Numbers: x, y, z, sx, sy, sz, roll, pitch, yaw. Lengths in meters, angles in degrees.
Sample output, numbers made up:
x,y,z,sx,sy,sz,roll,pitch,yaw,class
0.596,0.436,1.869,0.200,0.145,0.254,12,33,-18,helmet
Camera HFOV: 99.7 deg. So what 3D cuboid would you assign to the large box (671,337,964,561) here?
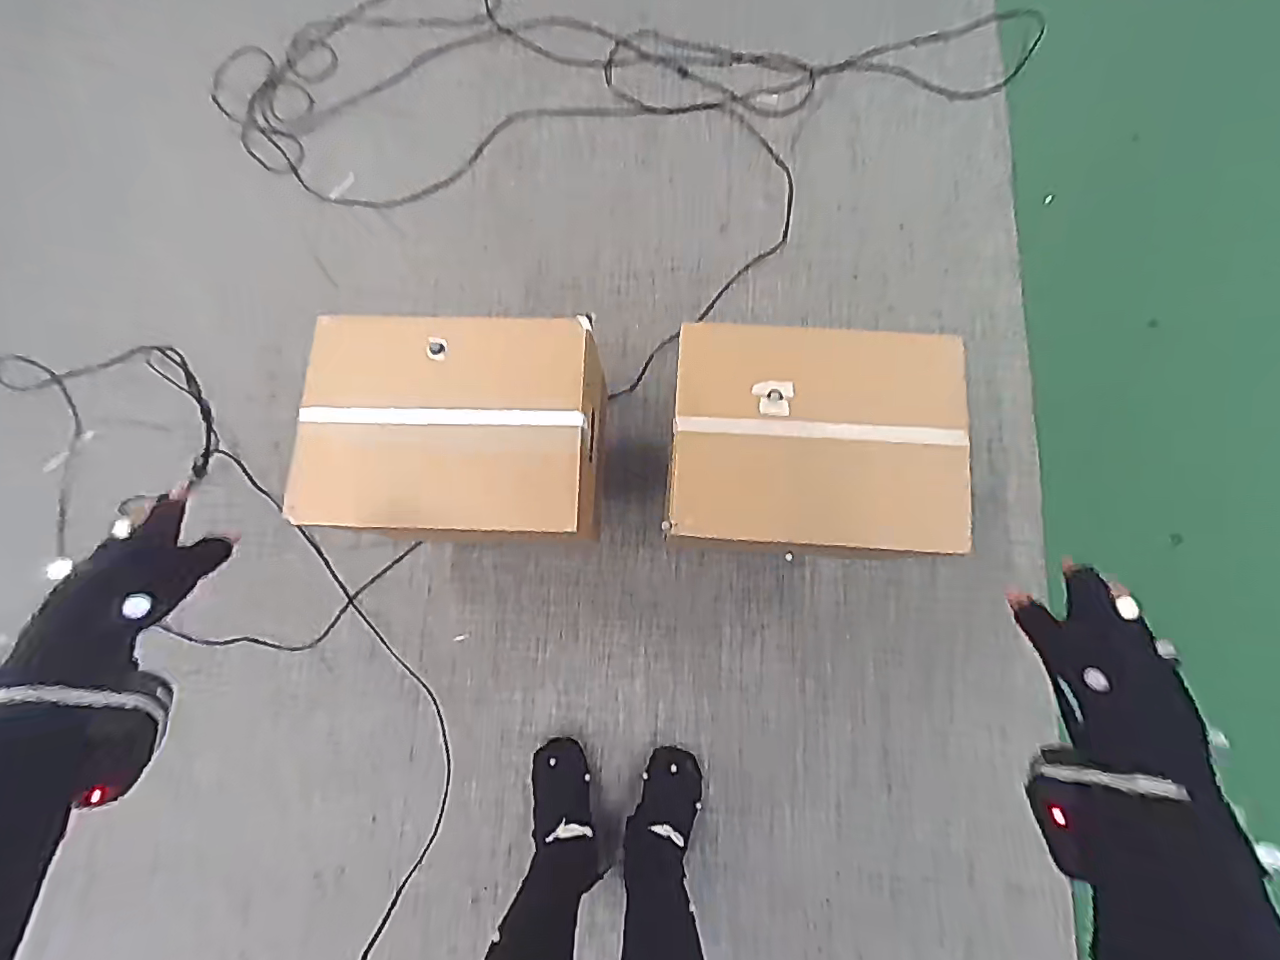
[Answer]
x,y,z,sx,sy,sz,roll,pitch,yaw,class
0.263,-0.029,0.918,0.408,0.320,0.320,4,80,3,large box
